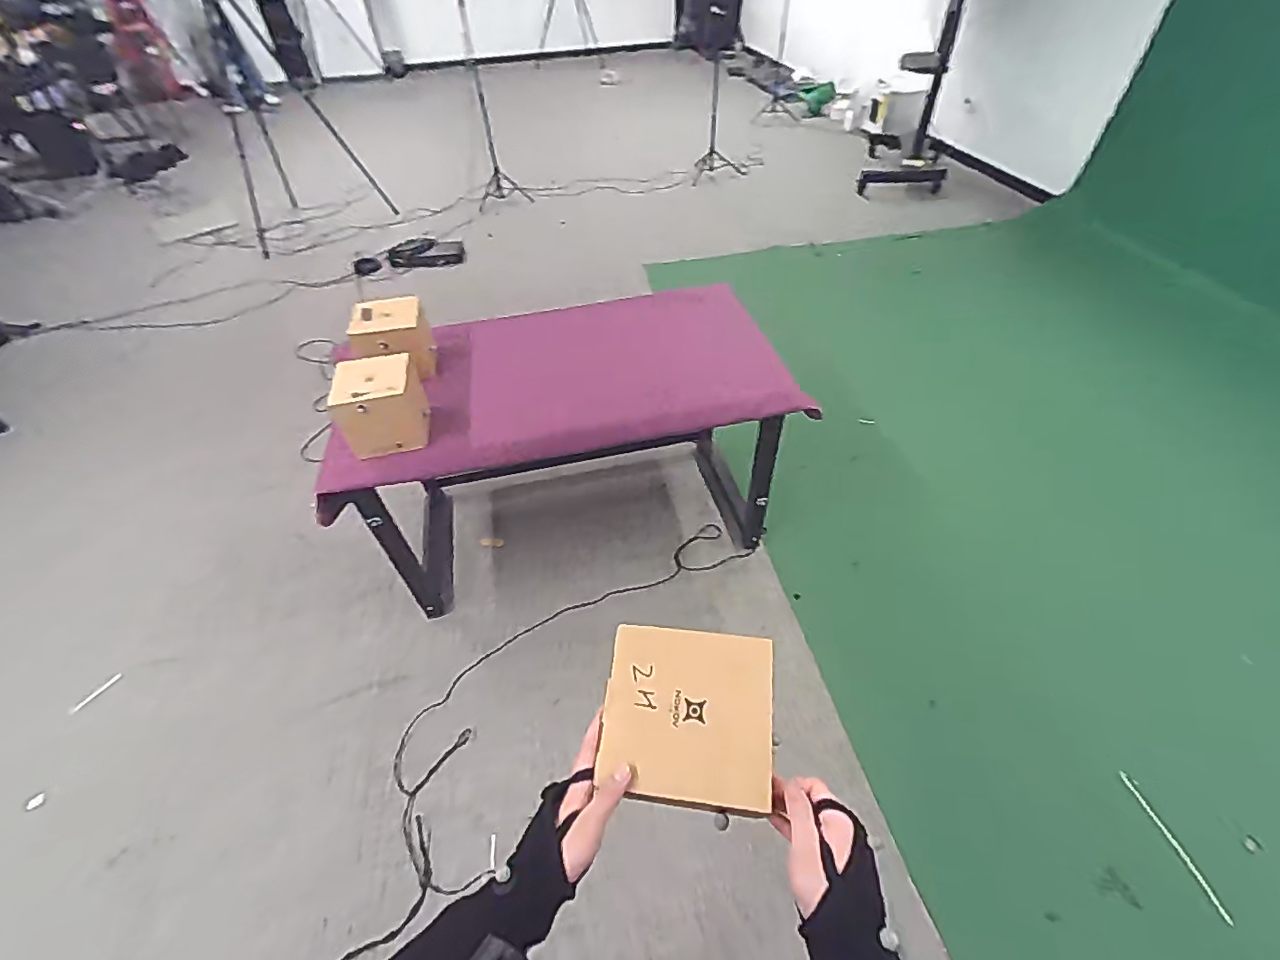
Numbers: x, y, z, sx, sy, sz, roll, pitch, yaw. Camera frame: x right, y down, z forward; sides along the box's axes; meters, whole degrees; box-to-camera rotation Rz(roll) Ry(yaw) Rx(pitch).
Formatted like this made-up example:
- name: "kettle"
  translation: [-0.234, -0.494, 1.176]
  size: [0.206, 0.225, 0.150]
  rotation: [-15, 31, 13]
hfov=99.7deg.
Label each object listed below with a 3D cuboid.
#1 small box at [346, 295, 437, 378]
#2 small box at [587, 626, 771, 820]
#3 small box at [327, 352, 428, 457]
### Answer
- name: "small box"
  translation: [-0.680, -0.388, 1.498]
  size: [0.179, 0.176, 0.168]
  rotation: [-9, 48, -8]
- name: "small box"
  translation: [0.053, 0.280, 0.618]
  size: [0.179, 0.176, 0.168]
  rotation: [3, 57, 10]
- name: "small box"
  translation: [-0.620, -0.182, 1.302]
  size: [0.168, 0.176, 0.179]
  rotation: [-12, 46, -8]
